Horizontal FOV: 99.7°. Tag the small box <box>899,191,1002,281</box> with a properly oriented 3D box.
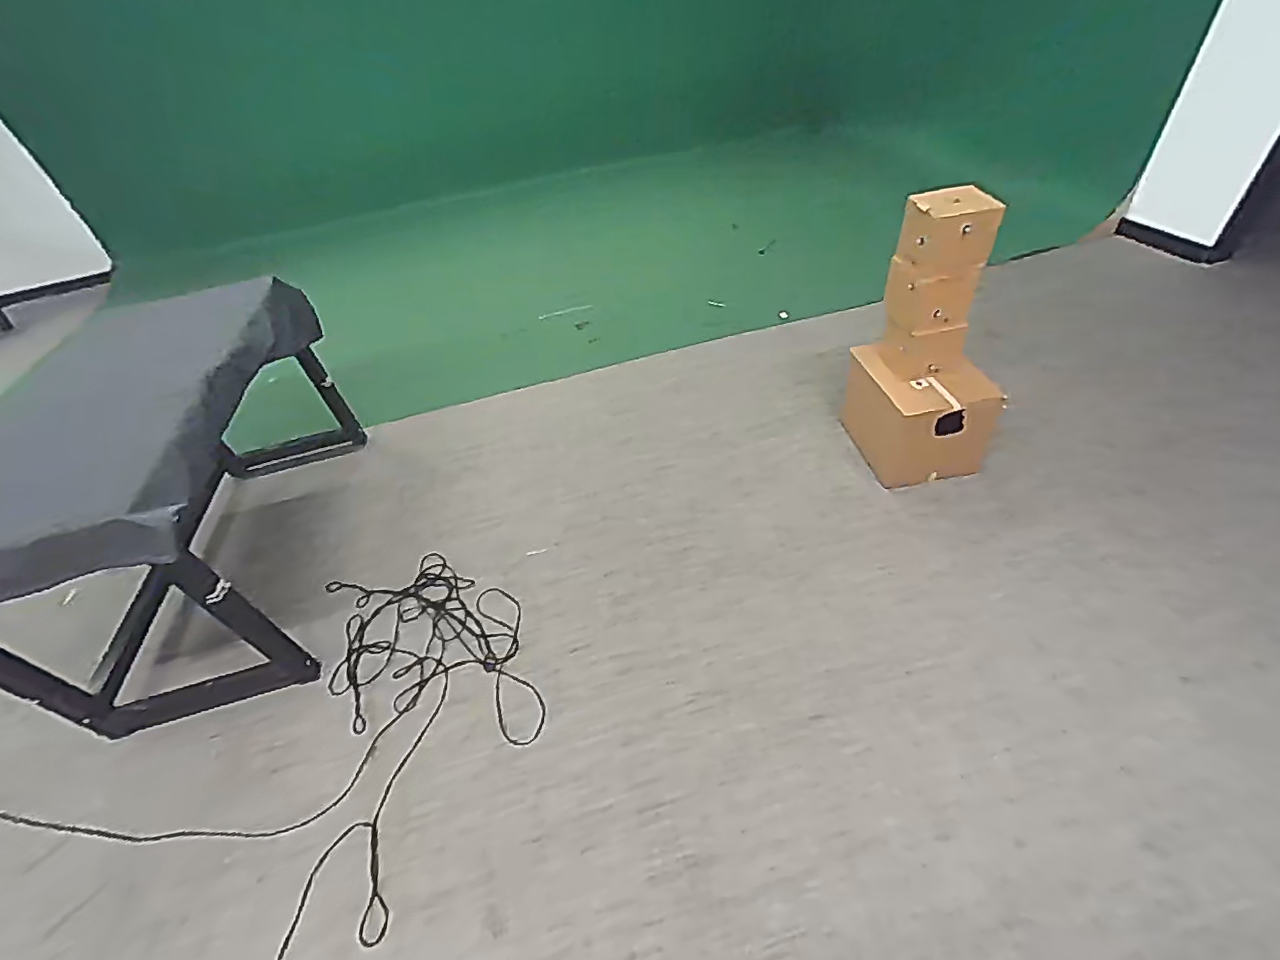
[{"bbox_3d":[0.833,-0.663,1.478,0.179,0.176,0.168,-10,46,-1],"label":"small box"}]

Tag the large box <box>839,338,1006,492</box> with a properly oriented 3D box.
[{"bbox_3d":[0.920,-0.225,1.835,0.320,0.320,0.408,-12,45,0],"label":"large box"}]

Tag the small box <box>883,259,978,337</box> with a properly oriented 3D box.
[{"bbox_3d":[0.842,-0.546,1.590,0.168,0.176,0.179,-12,45,-2],"label":"small box"}]
